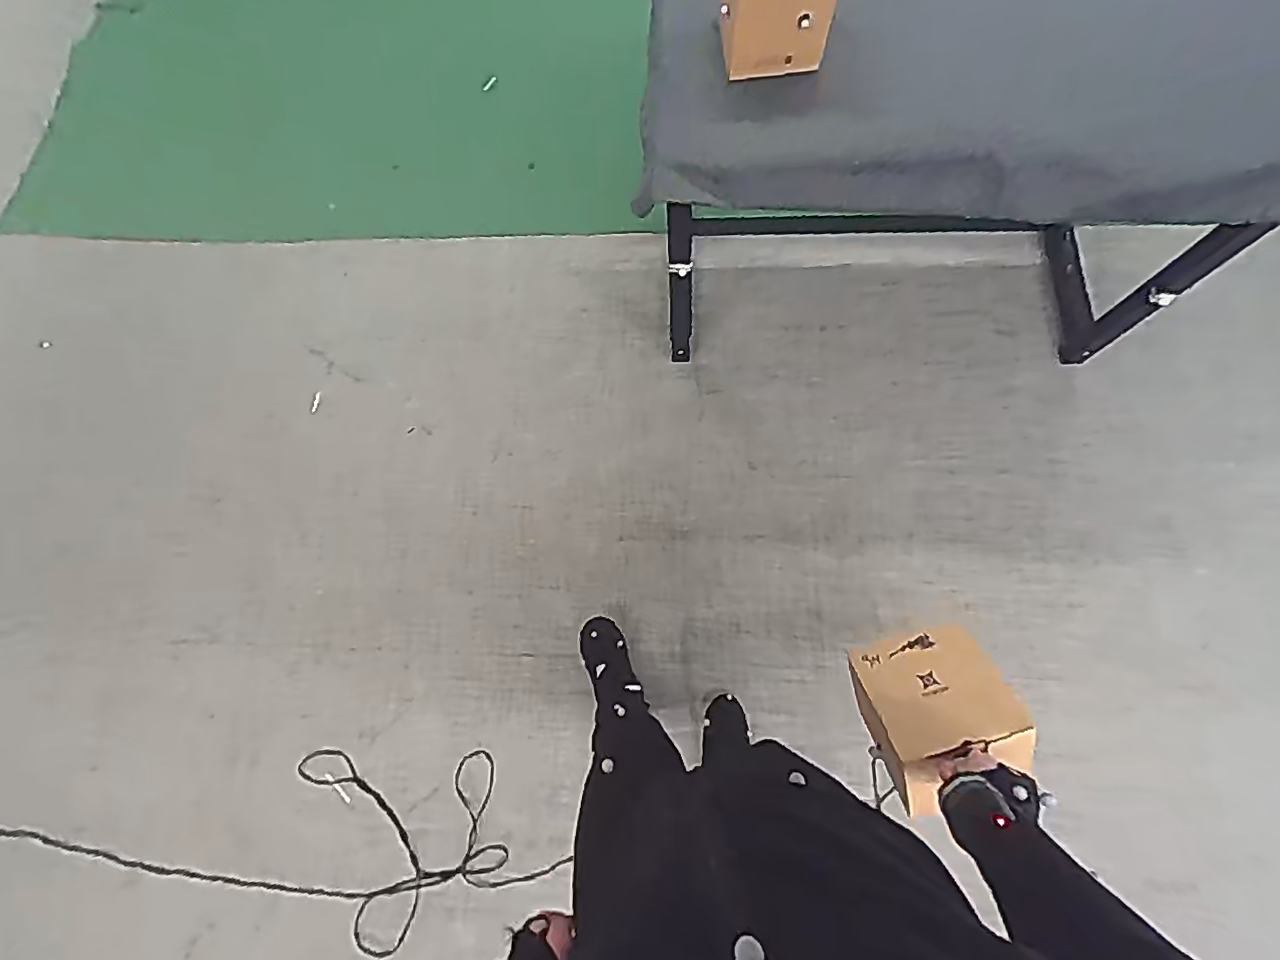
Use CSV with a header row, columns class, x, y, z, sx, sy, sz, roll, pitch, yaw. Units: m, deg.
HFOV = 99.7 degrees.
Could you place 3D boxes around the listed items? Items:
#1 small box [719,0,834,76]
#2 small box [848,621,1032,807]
class,x,y,z,sx,sy,sz,roll,pitch,yaw
small box,0.234,-0.838,0.936,0.168,0.176,0.179,-5,72,0
small box,0.424,0.342,0.779,0.168,0.176,0.179,-19,34,7
